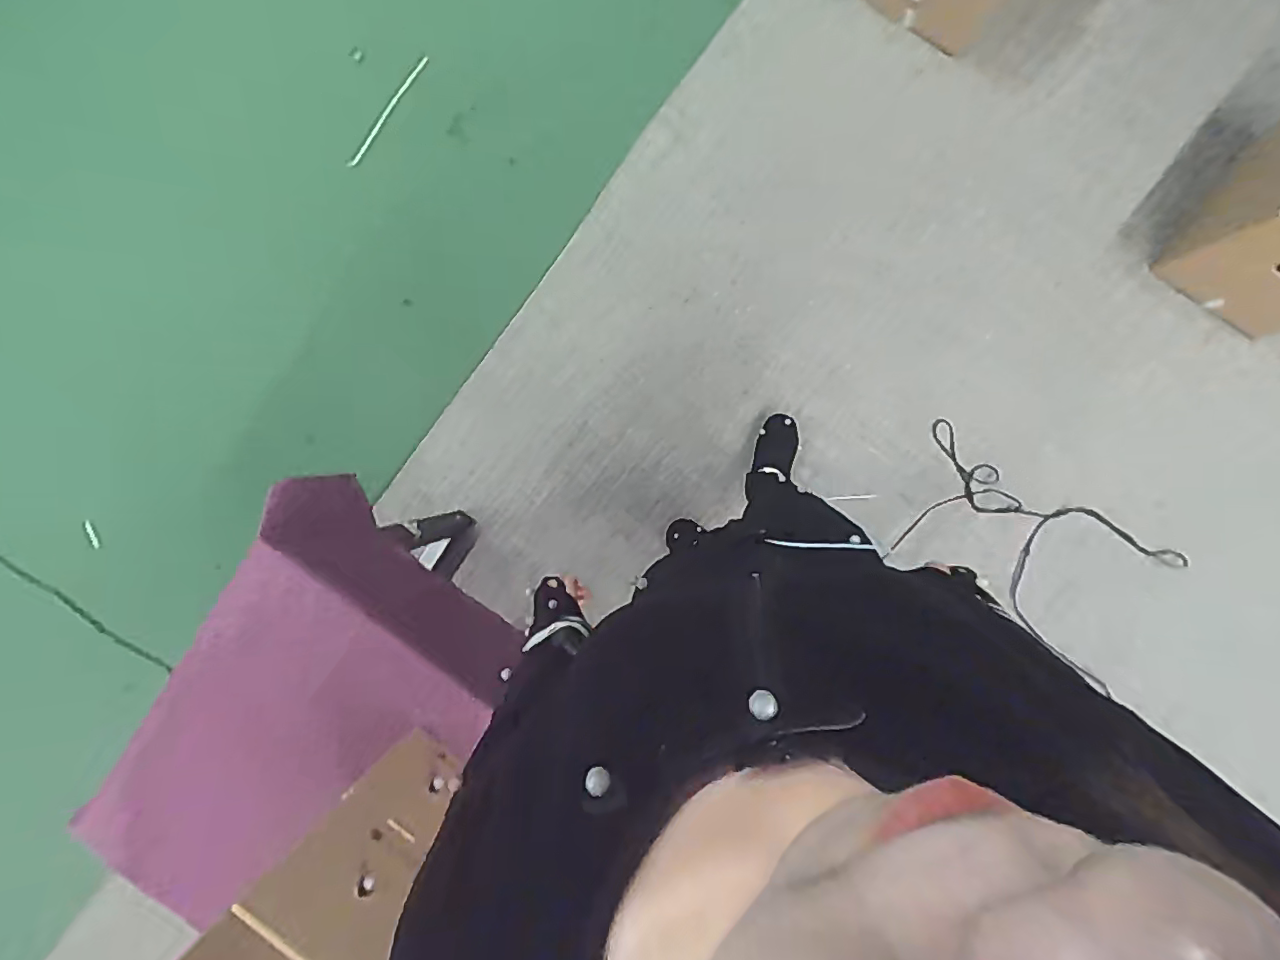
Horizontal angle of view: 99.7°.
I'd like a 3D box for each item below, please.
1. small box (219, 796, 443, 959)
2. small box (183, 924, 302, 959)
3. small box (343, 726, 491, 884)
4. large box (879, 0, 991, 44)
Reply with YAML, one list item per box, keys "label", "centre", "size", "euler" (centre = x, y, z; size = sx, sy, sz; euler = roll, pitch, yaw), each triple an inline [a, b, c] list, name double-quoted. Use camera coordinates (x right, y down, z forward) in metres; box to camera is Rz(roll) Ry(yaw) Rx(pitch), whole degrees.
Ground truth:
- label: "small box"
  centre: [-0.346, 0.497, 0.589]
  size: [0.168, 0.176, 0.179]
  euler: [36, 96, 3]
- label: "small box"
  centre: [-0.361, 0.512, 0.427]
  size: [0.179, 0.176, 0.168]
  euler: [36, 97, 2]
- label: "small box"
  centre: [-0.332, 0.487, 0.754]
  size: [0.168, 0.176, 0.179]
  euler: [36, 95, 3]
- label: "large box"
  centre: [0.784, -1.348, 1.229]
  size: [0.320, 0.320, 0.408]
  euler: [36, 94, 3]
